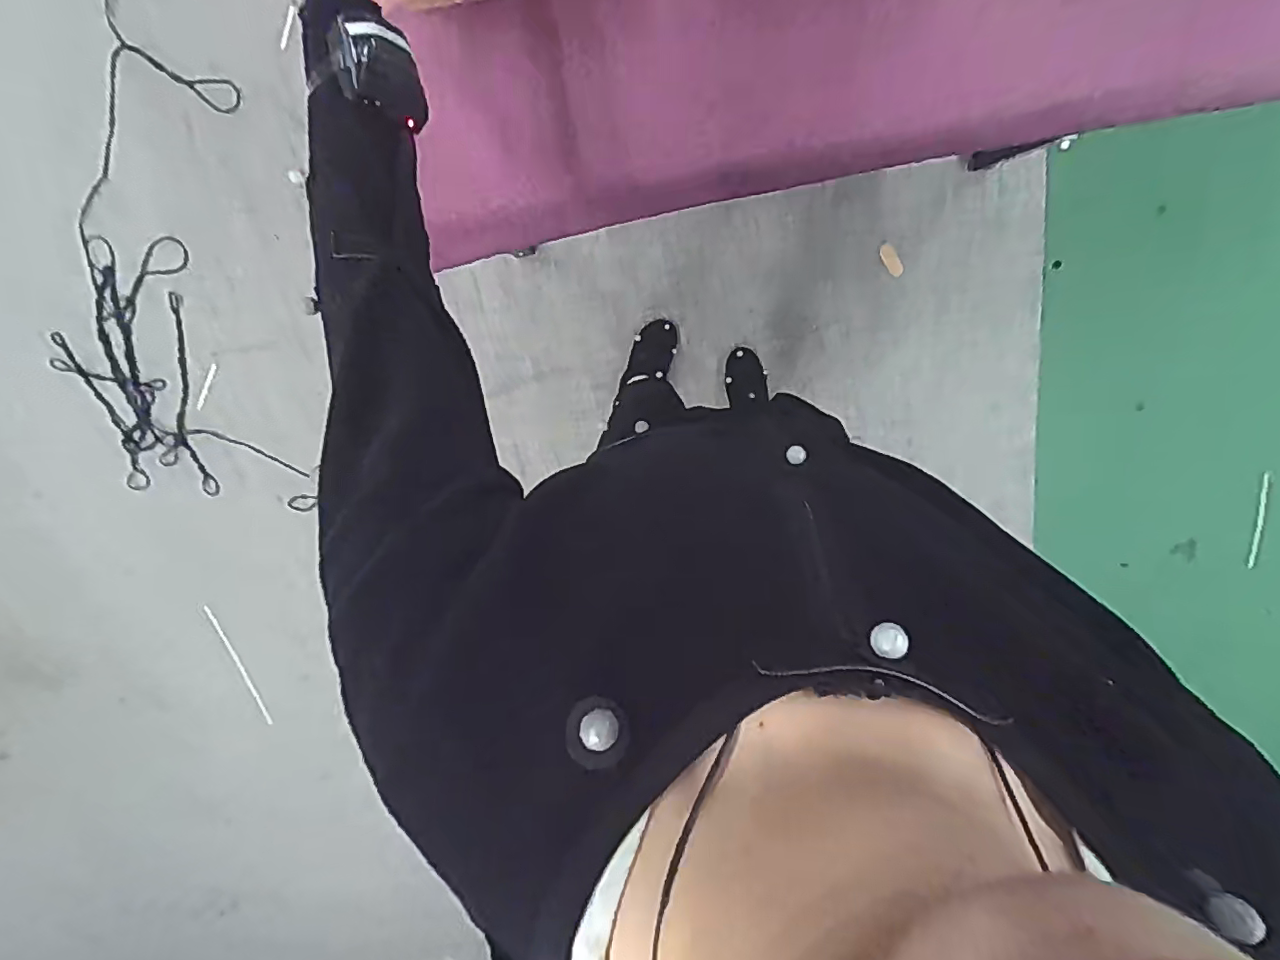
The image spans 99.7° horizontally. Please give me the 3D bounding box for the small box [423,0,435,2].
[{"bbox_3d":[-0.189,-0.582,0.493,0.168,0.176,0.179,-8,109,2],"label":"small box"}]
